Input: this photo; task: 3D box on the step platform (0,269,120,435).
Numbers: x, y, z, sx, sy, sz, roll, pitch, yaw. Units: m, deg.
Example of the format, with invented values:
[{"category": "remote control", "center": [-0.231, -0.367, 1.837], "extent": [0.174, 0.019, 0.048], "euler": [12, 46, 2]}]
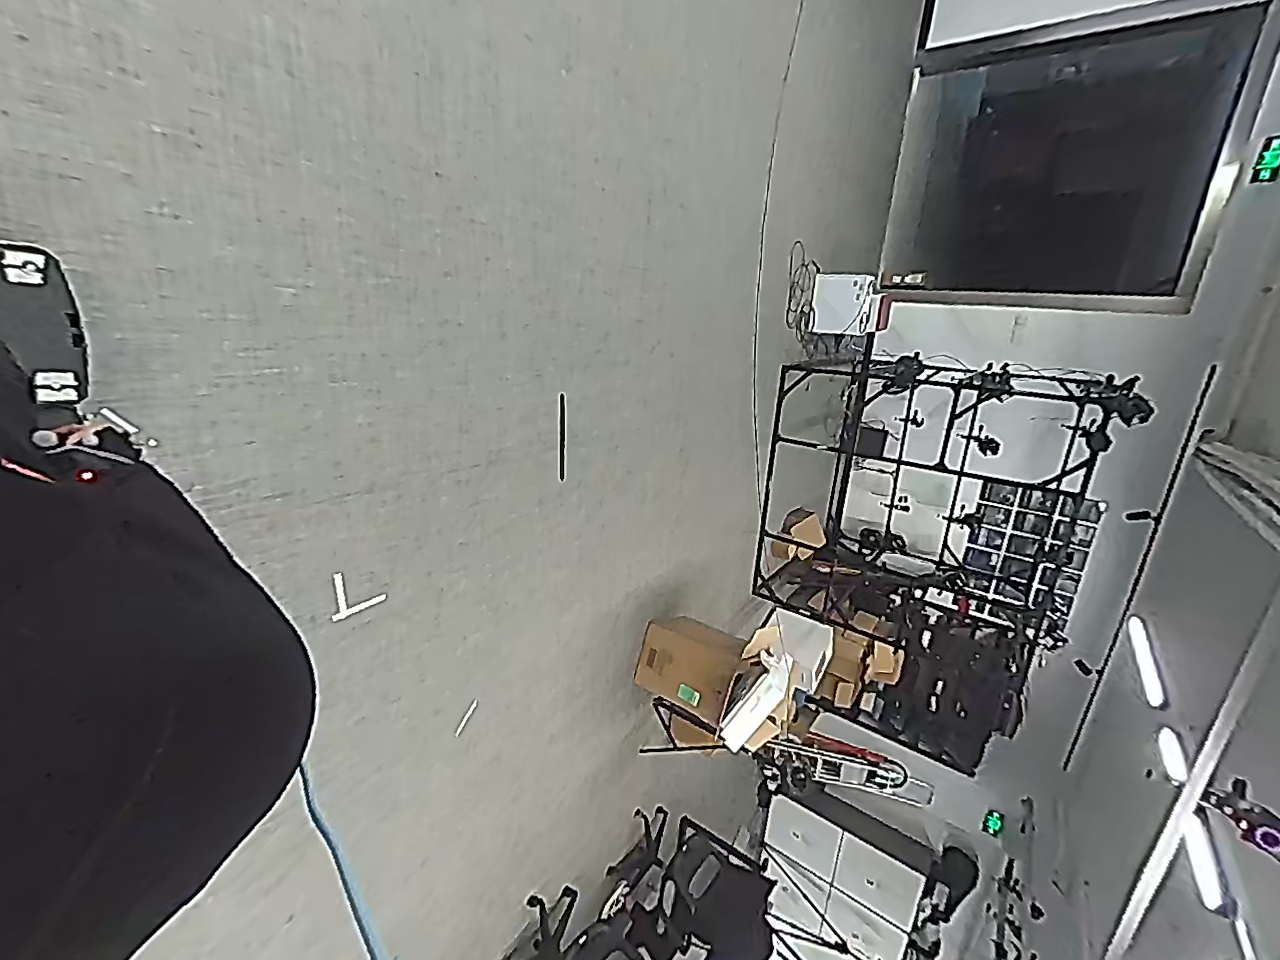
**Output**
[{"category": "step platform", "center": [-1.254, -0.210, 0.810], "extent": [0.684, 0.204, 0.286], "euler": [-12, 112, -55]}]
